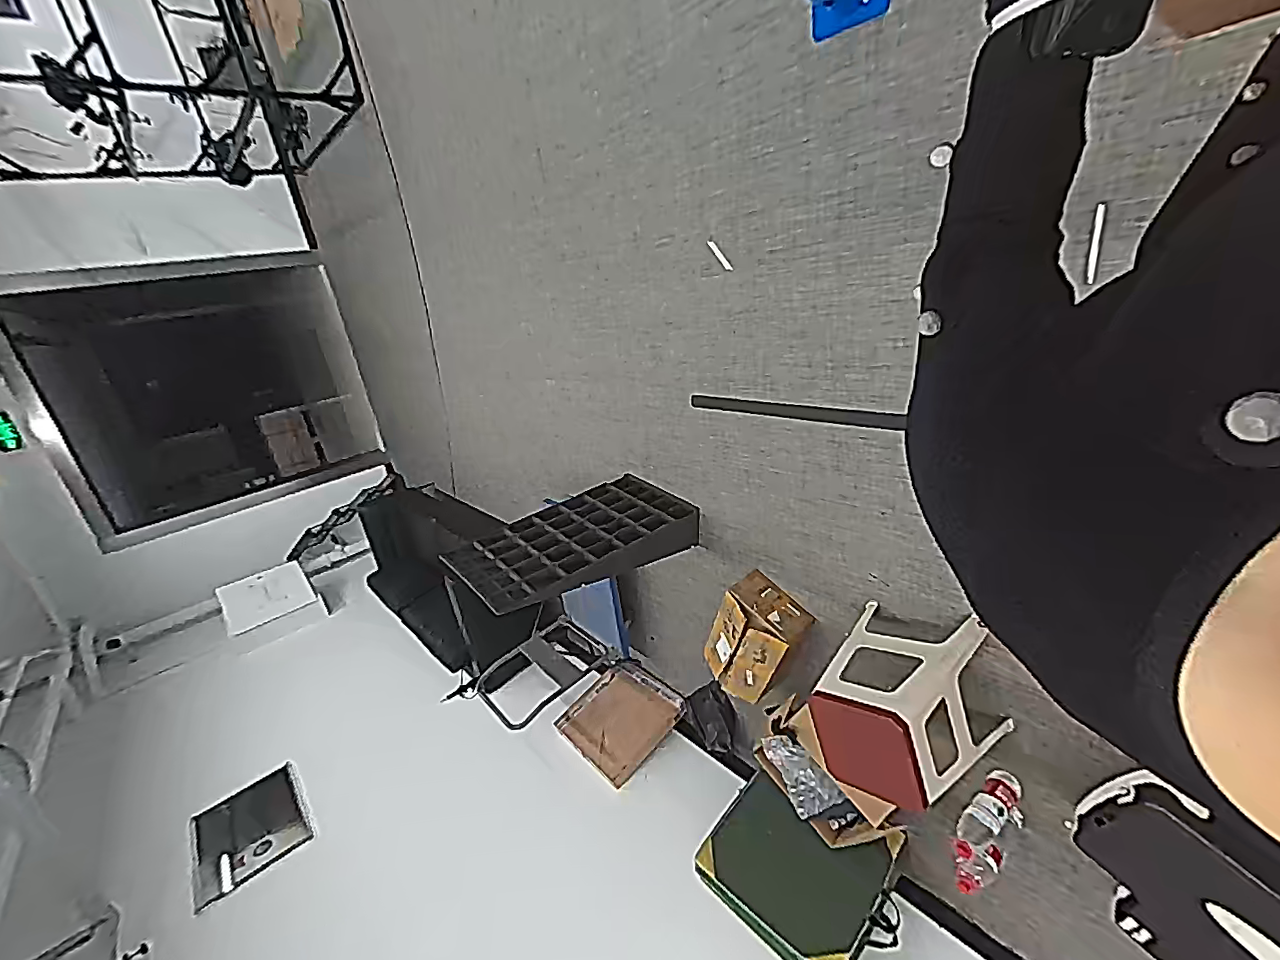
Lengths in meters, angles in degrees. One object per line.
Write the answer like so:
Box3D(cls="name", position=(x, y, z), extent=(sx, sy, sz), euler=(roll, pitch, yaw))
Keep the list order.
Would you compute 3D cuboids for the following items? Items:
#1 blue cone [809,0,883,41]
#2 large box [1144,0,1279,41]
Box3D(cls="blue cone", position=(0.366, -1.124, 1.186), extent=(0.192, 0.380, 0.193), euler=(21, 125, 47))
Box3D(cls="large box", position=(0.508, -0.476, 0.233), extent=(0.408, 0.320, 0.320), euler=(11, 120, 46))
